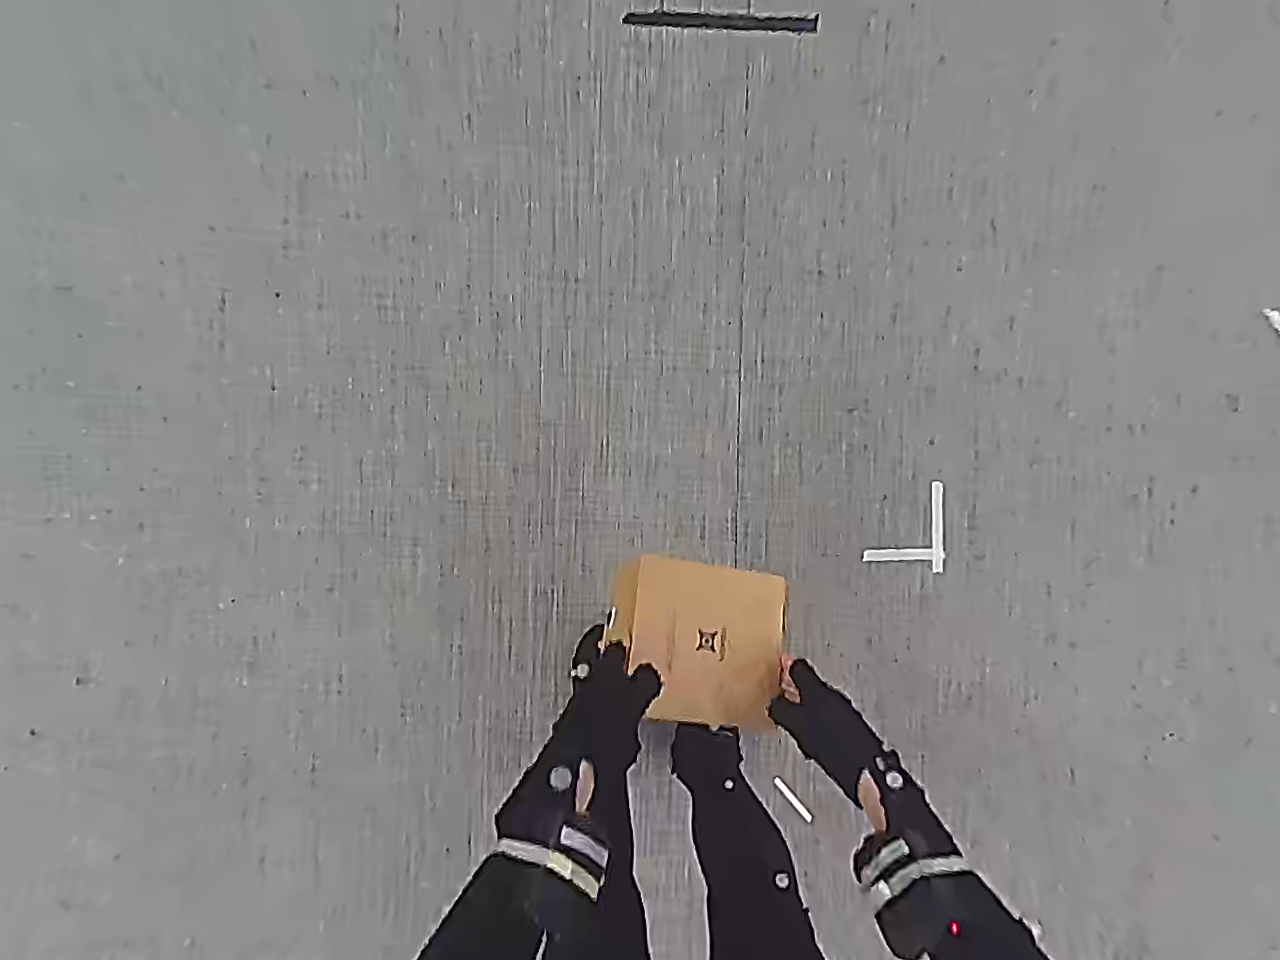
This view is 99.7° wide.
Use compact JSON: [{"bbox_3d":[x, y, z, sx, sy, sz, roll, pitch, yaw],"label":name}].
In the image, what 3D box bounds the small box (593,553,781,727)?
[{"bbox_3d":[0.051,0.192,0.661,0.179,0.176,0.168,11,73,-11],"label":"small box"}]
